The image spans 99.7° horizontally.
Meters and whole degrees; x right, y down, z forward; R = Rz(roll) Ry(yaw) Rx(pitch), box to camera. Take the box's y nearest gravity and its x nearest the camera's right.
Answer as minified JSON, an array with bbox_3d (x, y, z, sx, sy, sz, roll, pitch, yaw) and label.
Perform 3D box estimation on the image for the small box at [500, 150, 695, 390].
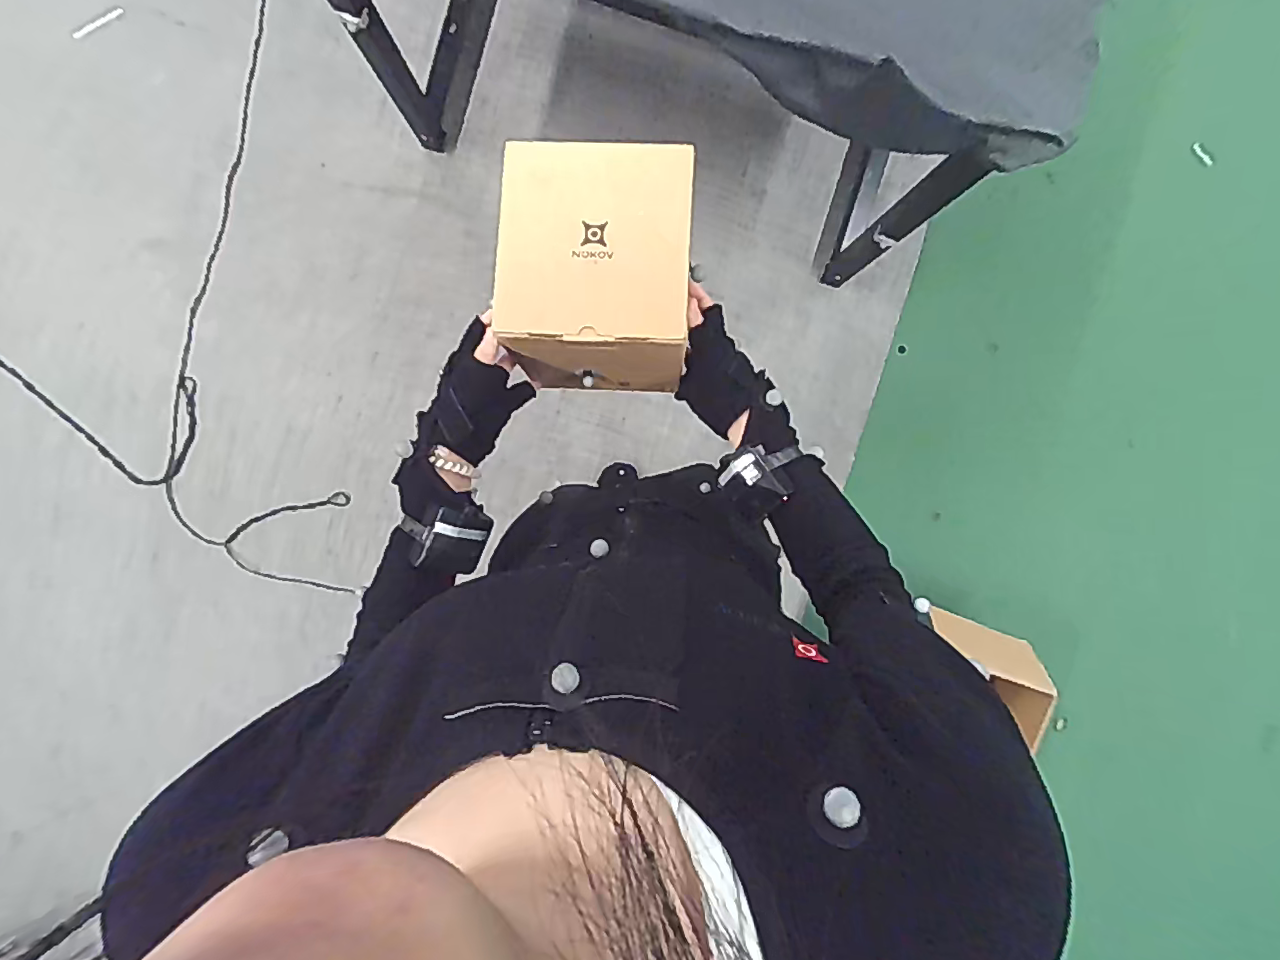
[{"bbox_3d":[-0.035,-0.201,0.555,0.168,0.176,0.179,2,86,2],"label":"small box"}]
